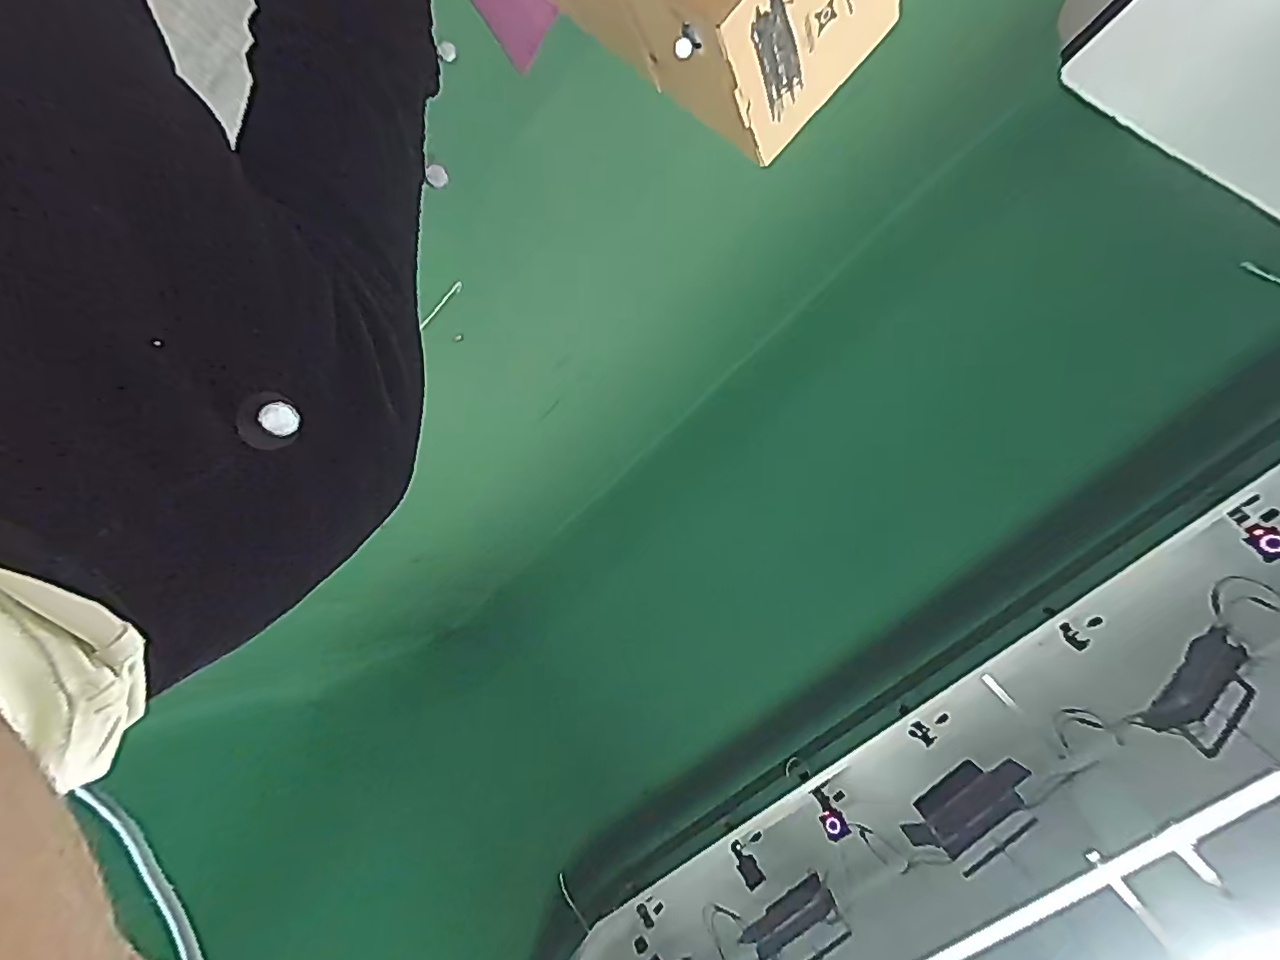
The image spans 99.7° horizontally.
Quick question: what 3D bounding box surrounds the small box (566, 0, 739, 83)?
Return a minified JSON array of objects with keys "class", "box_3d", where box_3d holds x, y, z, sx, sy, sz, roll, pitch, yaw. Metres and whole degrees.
[{"class":"small box","box_3d":[0.005,-0.570,0.544,0.179,0.176,0.168,-42,159,11]}]
